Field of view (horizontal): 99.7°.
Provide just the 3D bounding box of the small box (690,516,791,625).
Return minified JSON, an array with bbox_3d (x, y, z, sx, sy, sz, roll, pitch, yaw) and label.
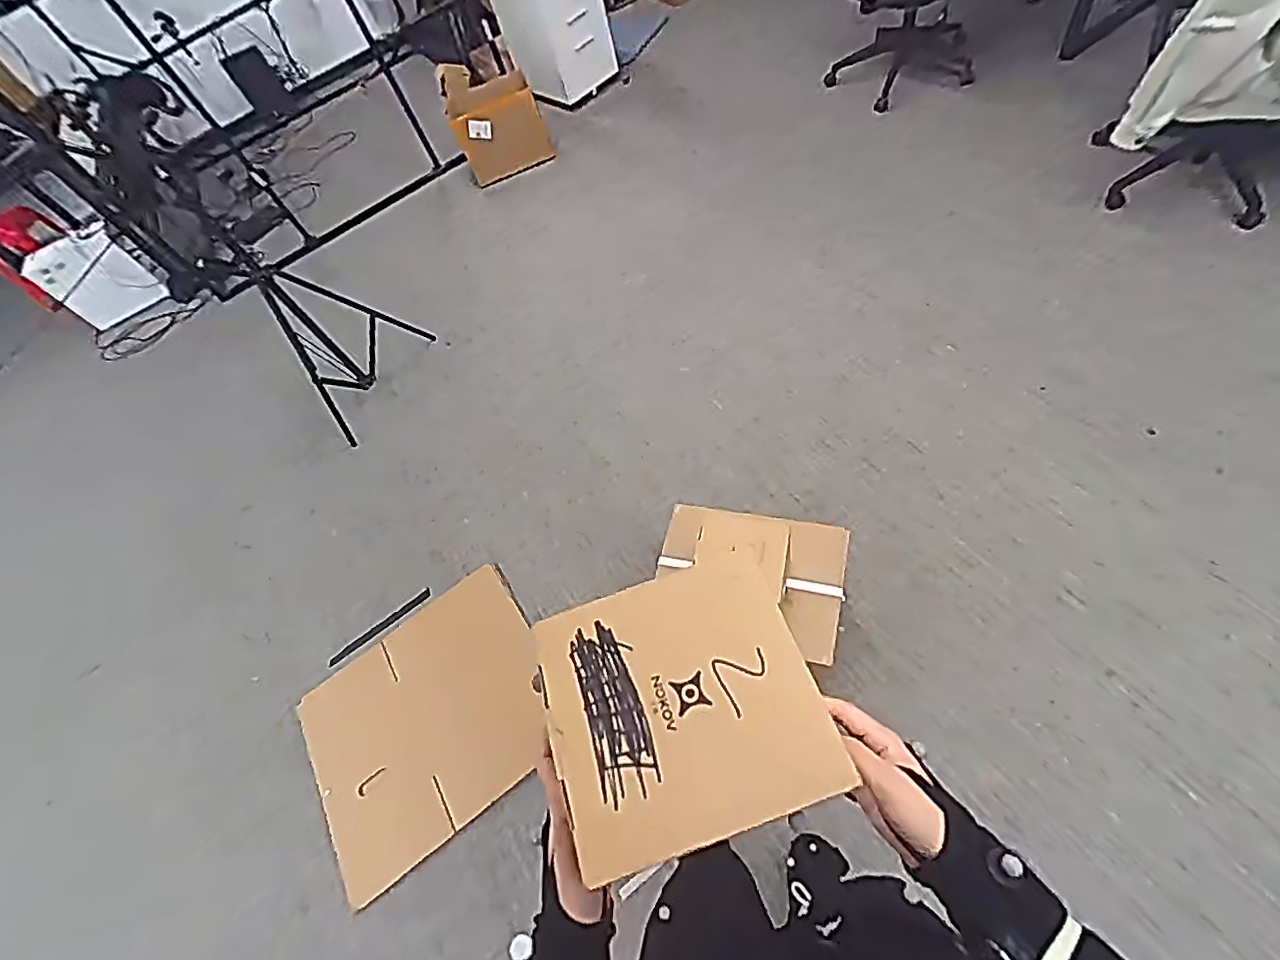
[{"bbox_3d":[0.214,0.190,1.116,0.179,0.176,0.168,6,63,18],"label":"small box"}]
